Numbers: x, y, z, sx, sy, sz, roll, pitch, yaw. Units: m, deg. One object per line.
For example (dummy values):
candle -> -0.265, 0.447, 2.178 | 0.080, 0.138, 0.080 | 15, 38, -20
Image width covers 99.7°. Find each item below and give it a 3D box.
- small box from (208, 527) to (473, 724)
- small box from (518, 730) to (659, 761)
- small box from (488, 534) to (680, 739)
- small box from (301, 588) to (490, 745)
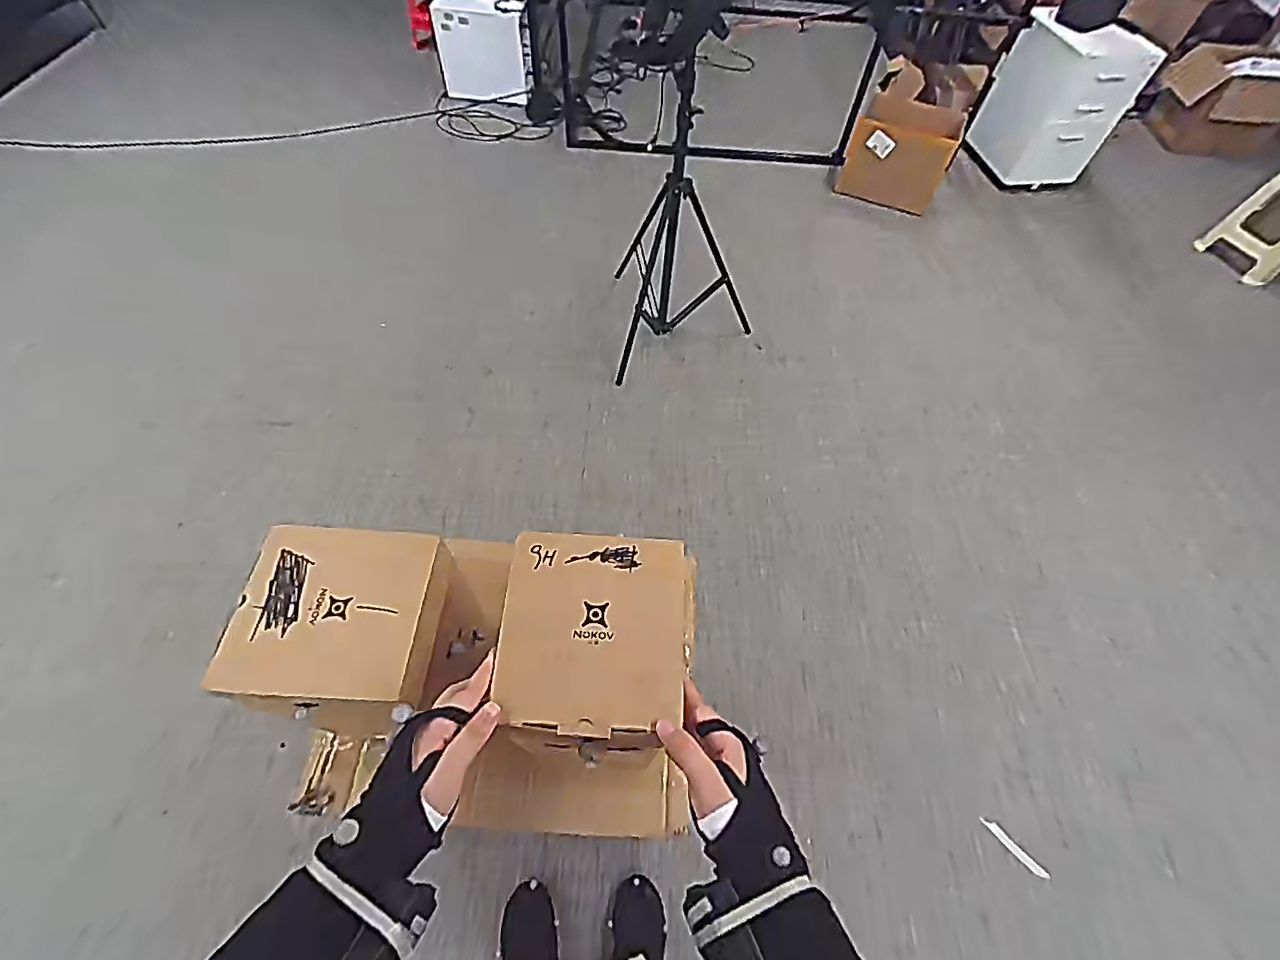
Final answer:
small box -> -0.300, 0.165, 0.591 | 0.179, 0.176, 0.168 | 4, 58, -2
small box -> -0.058, 0.270, 0.729 | 0.168, 0.176, 0.179 | 3, 58, 1
small box -> -0.047, 0.170, 0.566 | 0.168, 0.176, 0.179 | 3, 62, -1
small box -> -0.310, 0.250, 0.732 | 0.168, 0.176, 0.179 | 3, 59, -1
